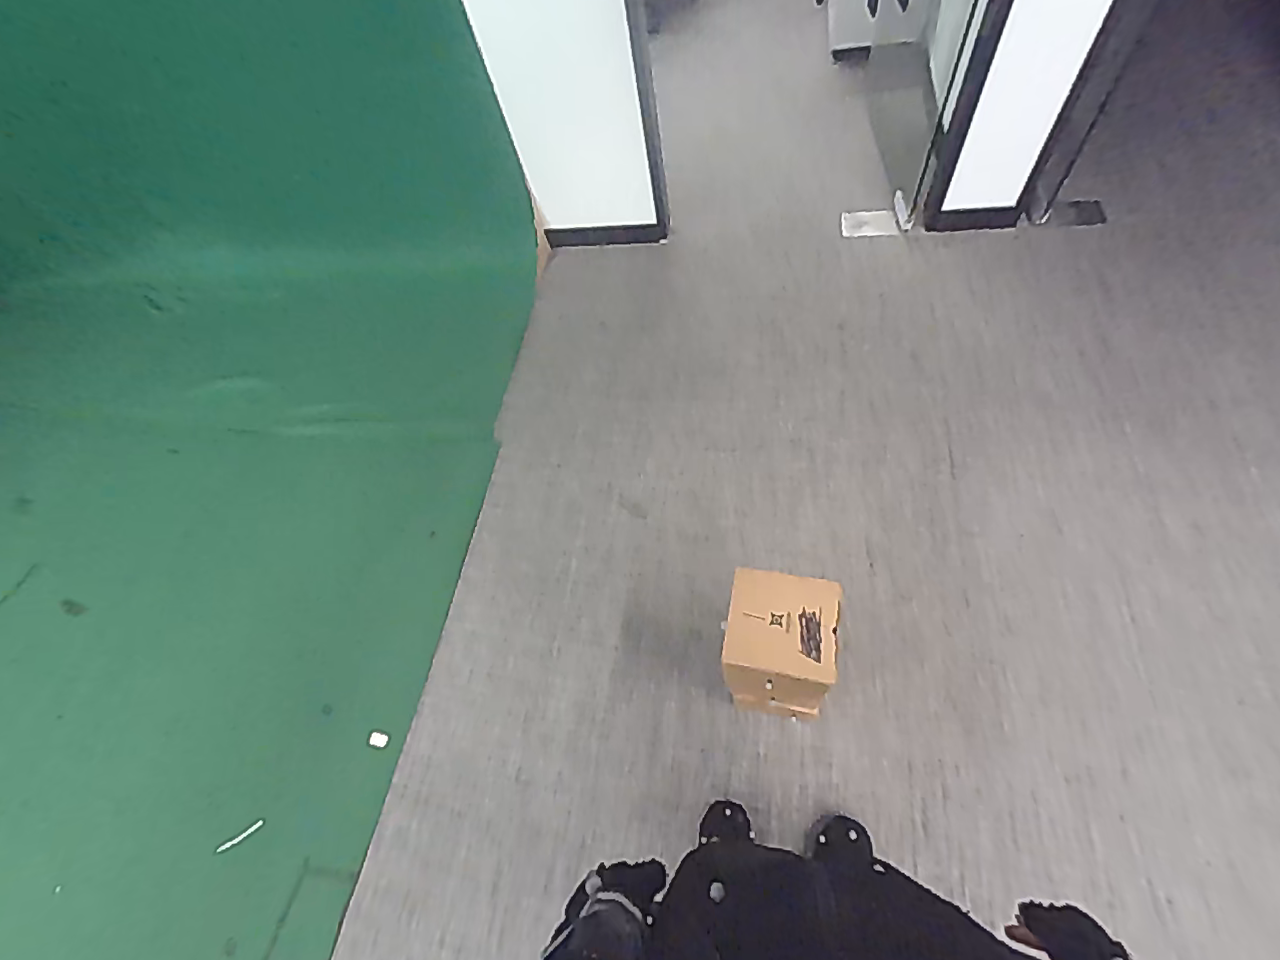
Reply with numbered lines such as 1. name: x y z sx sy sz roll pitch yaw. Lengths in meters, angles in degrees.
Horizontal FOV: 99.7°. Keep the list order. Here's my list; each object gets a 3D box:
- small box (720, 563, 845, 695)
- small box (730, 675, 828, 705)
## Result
1. small box: 0.246 0.266 0.948 0.179 0.176 0.168 10 62 16
2. small box: 0.282 0.346 1.091 0.179 0.176 0.168 7 63 15
